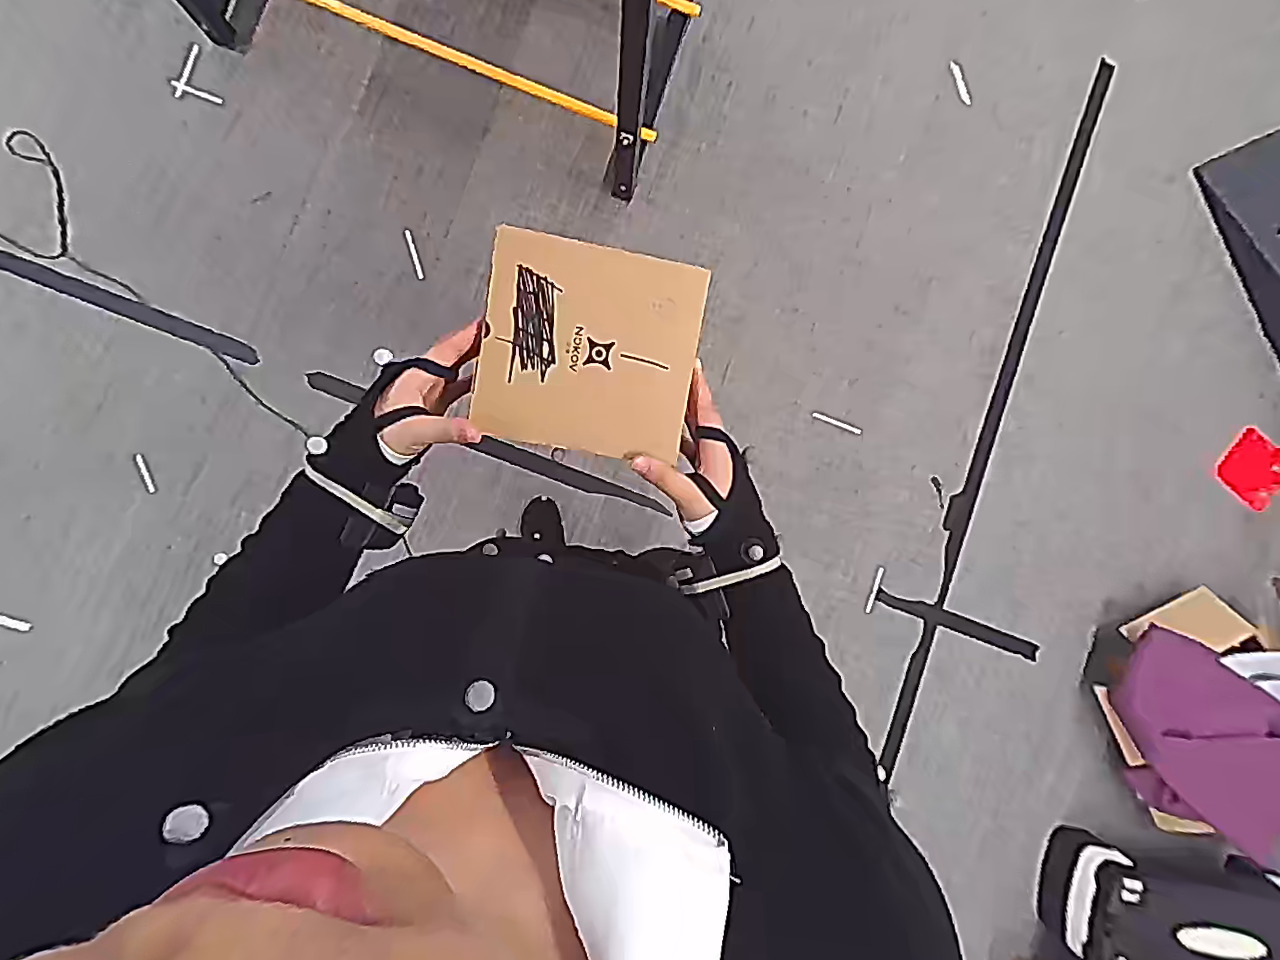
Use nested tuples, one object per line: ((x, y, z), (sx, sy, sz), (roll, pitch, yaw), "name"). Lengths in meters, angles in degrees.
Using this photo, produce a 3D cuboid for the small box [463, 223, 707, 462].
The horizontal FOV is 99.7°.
((-0.052, -0.115, 0.514), (0.179, 0.176, 0.168), (9, 95, -7), "small box")
